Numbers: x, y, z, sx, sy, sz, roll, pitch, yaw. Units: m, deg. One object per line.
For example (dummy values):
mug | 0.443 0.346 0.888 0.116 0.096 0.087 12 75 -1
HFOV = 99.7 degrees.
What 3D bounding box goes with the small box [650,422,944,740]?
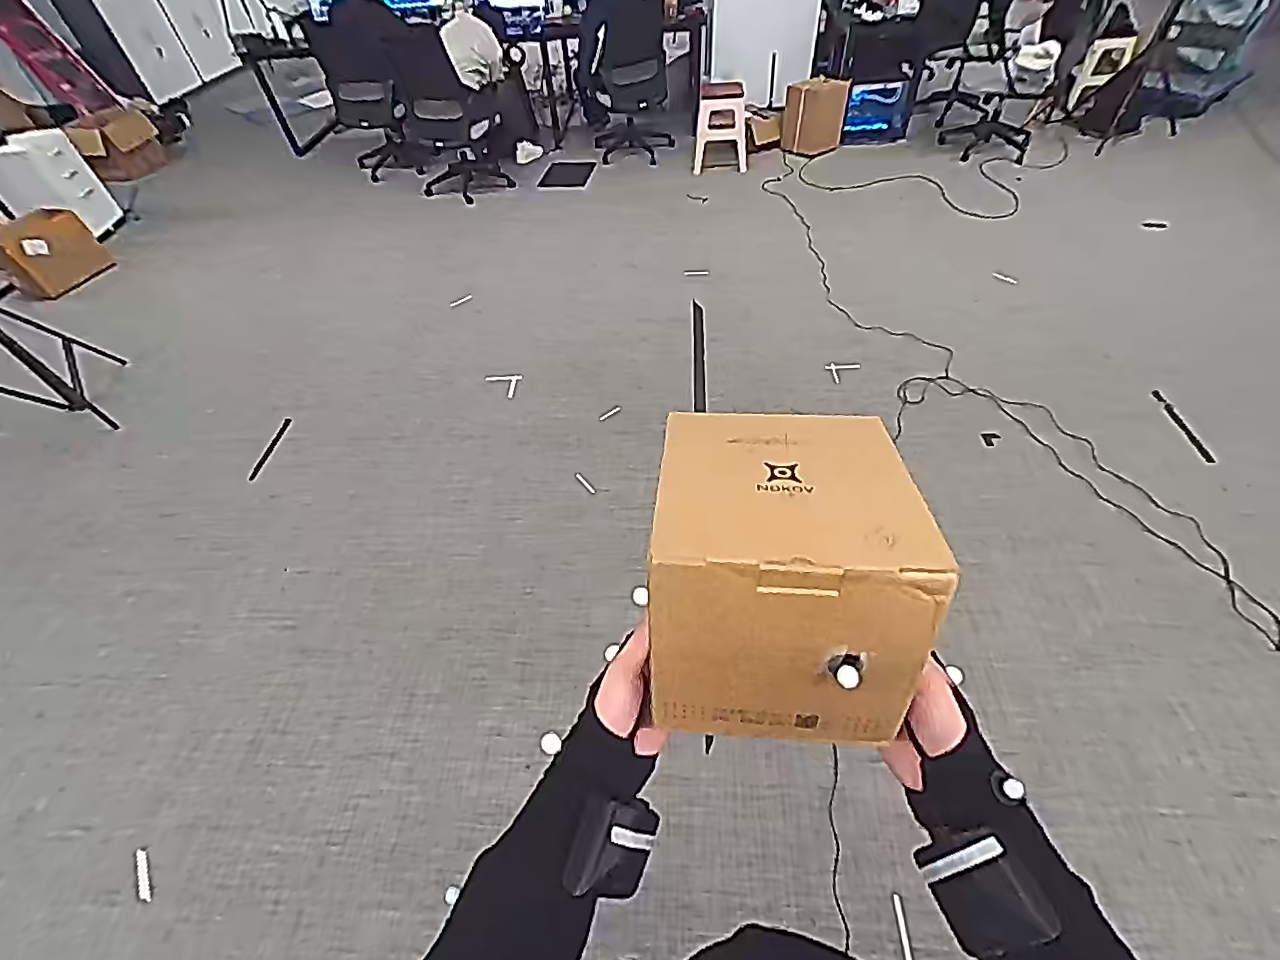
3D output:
small box | 0.098 0.070 0.414 0.168 0.176 0.179 3 33 5
